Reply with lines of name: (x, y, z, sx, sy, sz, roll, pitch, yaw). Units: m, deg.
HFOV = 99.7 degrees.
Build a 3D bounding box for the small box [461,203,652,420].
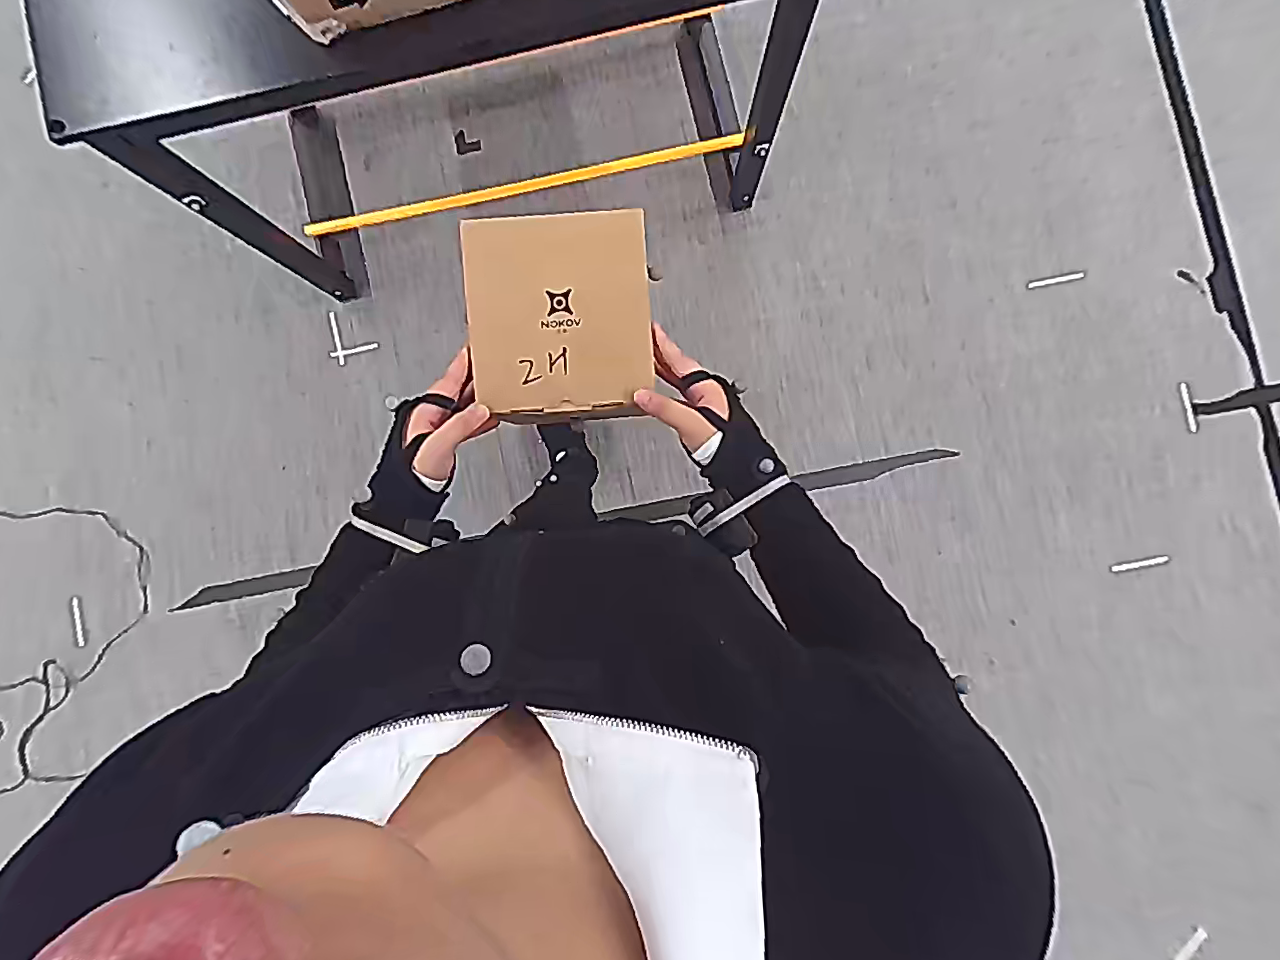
small box: (-0.077, -0.161, 0.566, 0.168, 0.176, 0.179, -4, 92, 0)
